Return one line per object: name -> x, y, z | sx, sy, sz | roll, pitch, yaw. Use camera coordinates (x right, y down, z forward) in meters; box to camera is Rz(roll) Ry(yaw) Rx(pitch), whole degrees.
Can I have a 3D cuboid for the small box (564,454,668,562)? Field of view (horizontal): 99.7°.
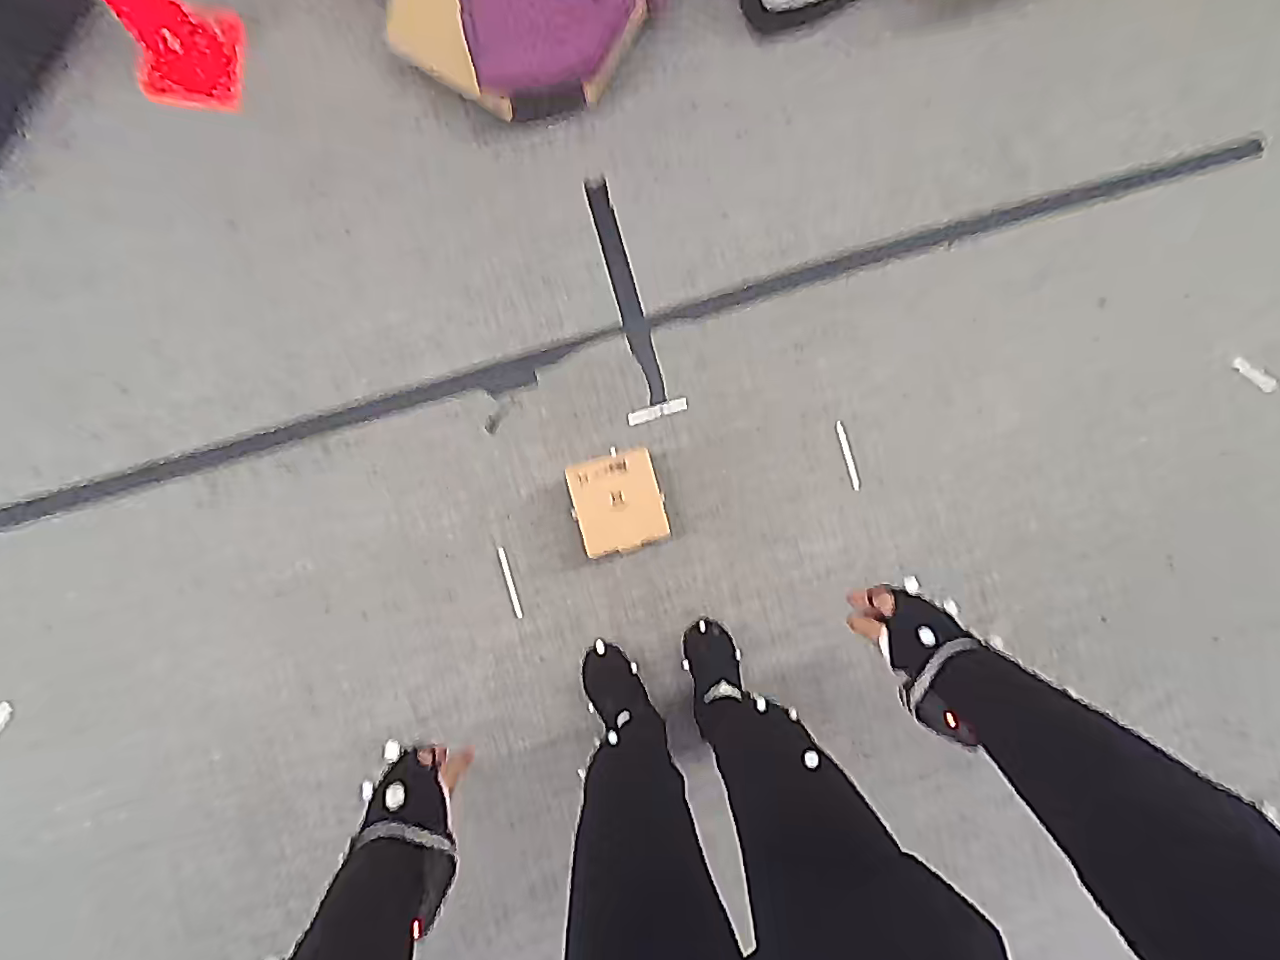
small box -> -0.047, 0.053, 1.103 | 0.168, 0.176, 0.179 | -15, 89, -3
